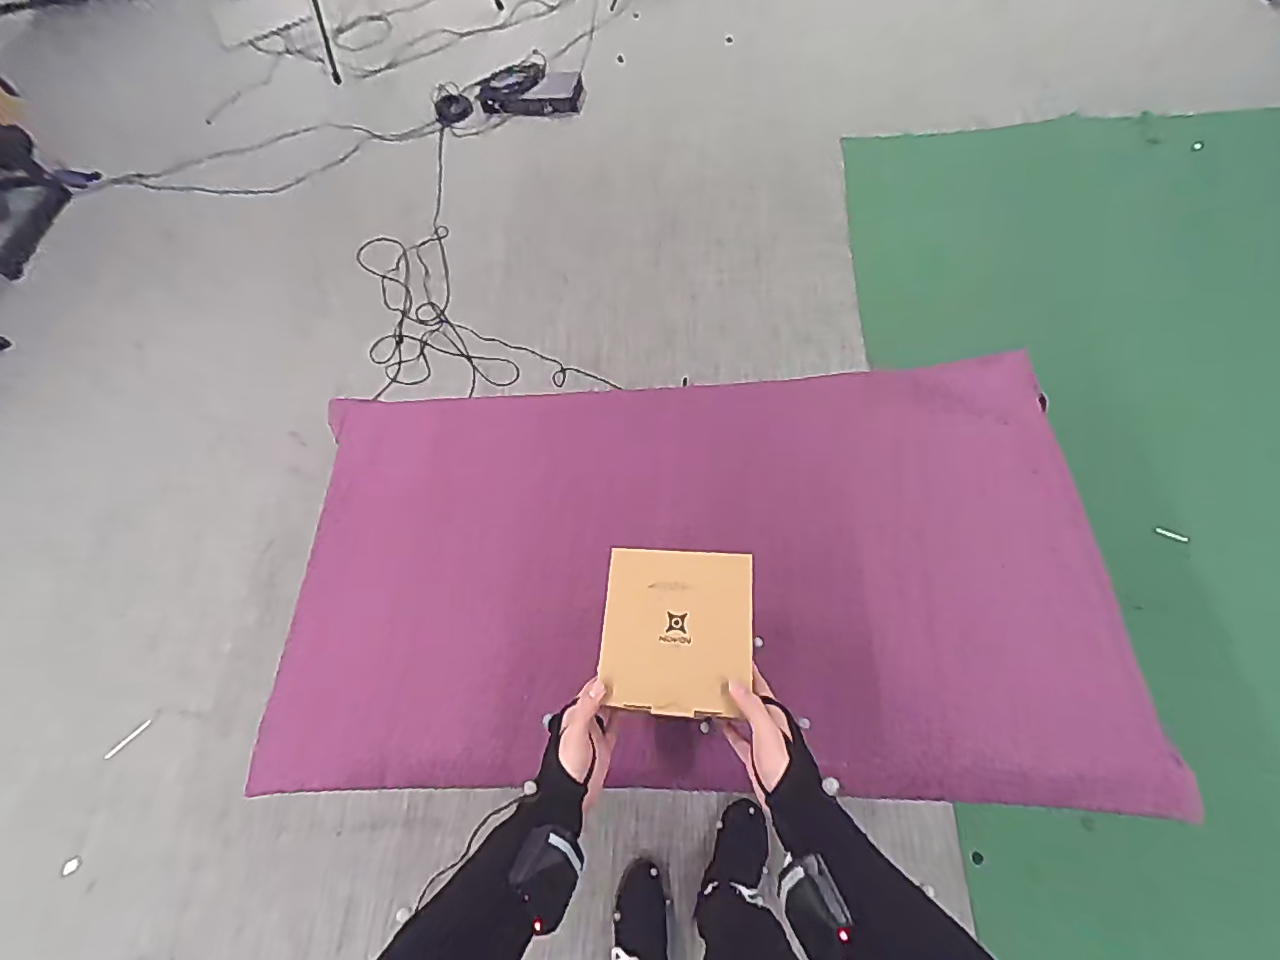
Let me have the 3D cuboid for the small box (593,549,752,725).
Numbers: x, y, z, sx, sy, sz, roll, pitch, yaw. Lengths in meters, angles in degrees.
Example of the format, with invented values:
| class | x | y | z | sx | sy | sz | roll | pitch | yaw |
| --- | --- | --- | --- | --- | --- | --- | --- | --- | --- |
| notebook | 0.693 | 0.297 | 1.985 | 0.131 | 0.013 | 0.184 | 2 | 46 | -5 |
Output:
| class | x | y | z | sx | sy | sz | roll | pitch | yaw |
| --- | --- | --- | --- | --- | --- | --- | --- | --- | --- |
| small box | 0.048 | 0.197 | 0.660 | 0.168 | 0.176 | 0.179 | 3 | 64 | 8 |
